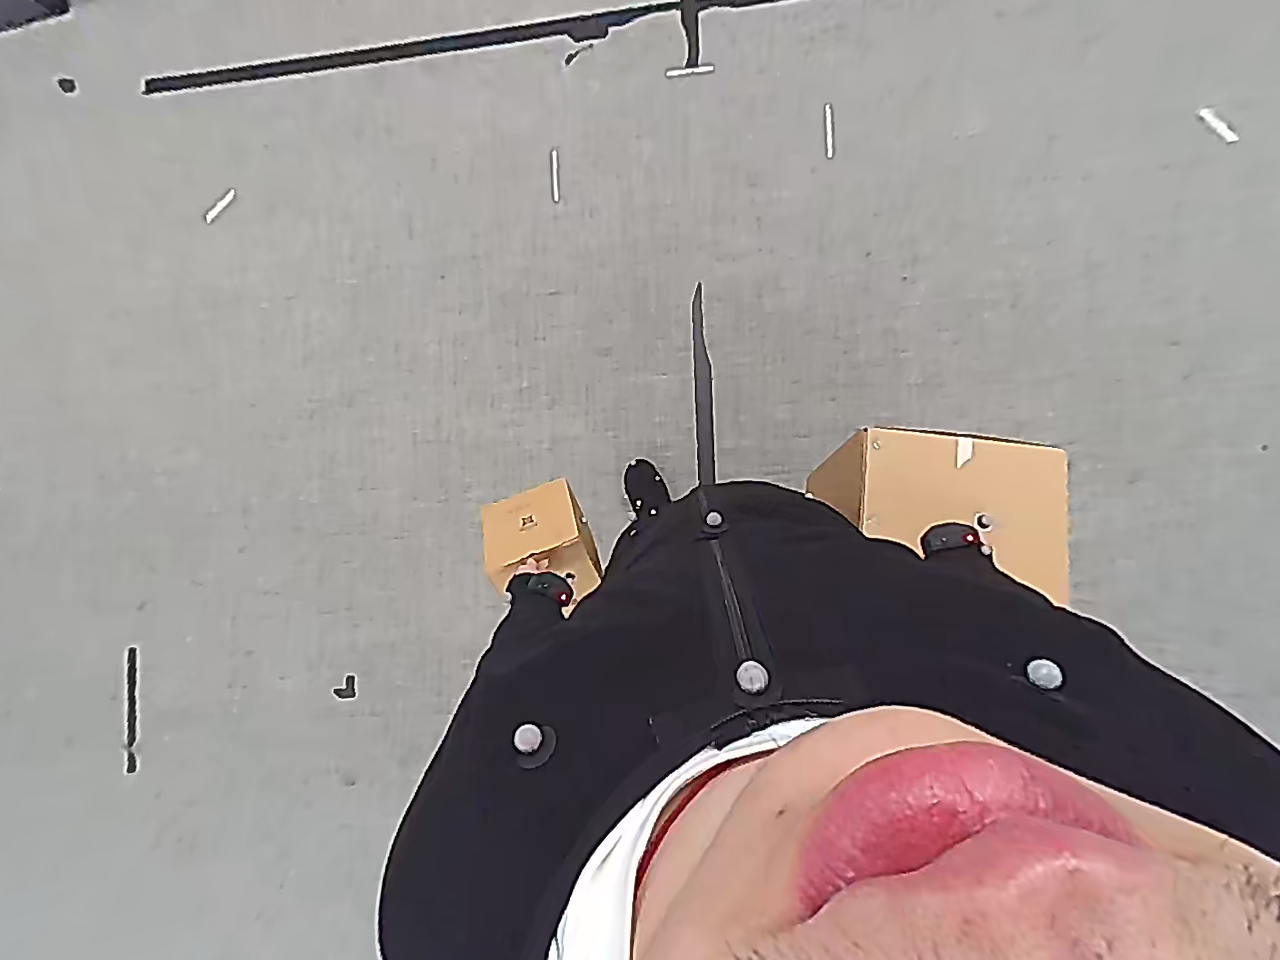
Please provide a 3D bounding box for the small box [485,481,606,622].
[{"bbox_3d":[-0.173,0.138,0.999,0.168,0.179,0.176,-21,128,-2],"label":"small box"}]
